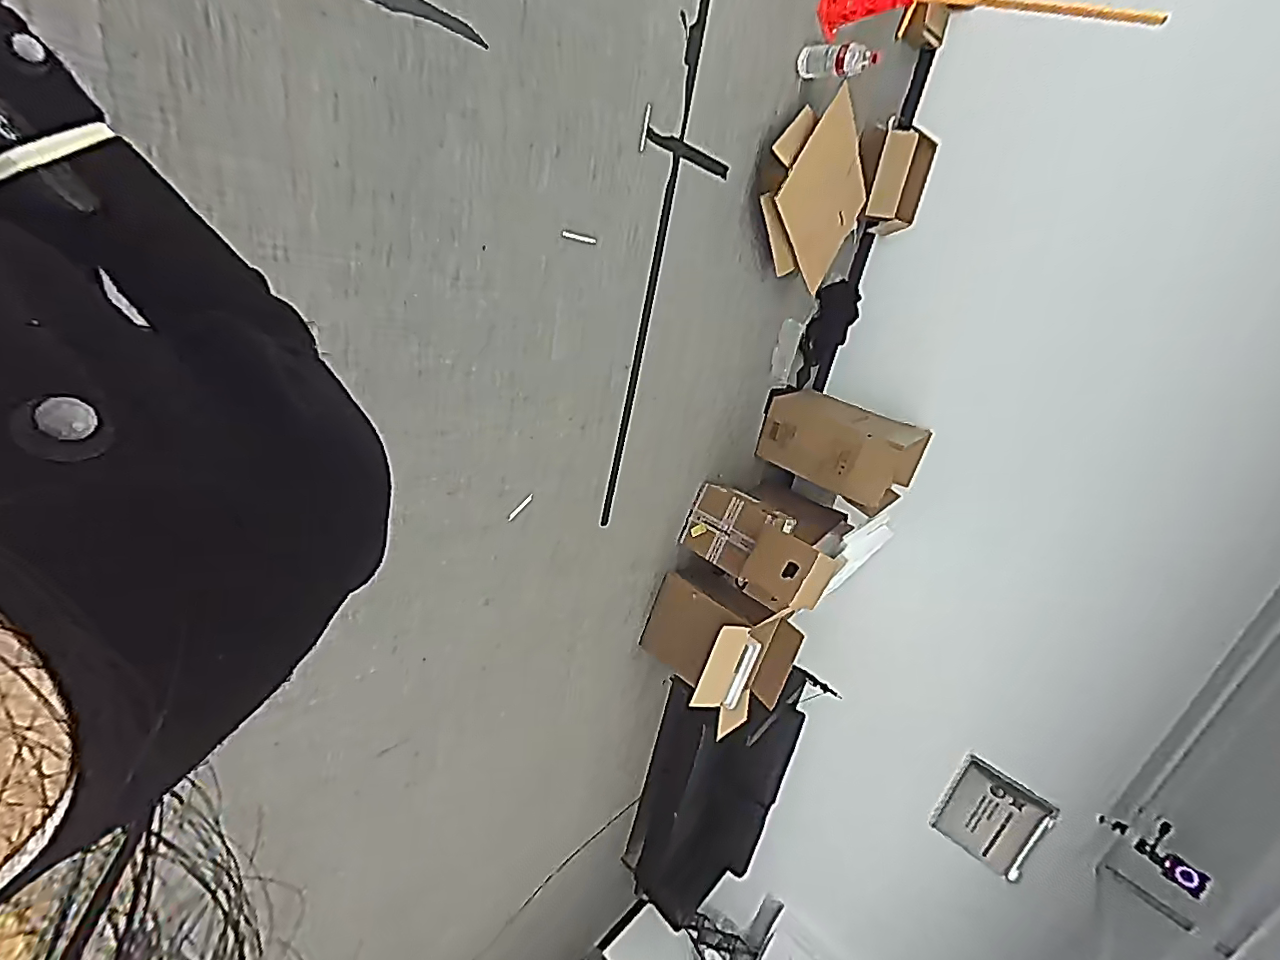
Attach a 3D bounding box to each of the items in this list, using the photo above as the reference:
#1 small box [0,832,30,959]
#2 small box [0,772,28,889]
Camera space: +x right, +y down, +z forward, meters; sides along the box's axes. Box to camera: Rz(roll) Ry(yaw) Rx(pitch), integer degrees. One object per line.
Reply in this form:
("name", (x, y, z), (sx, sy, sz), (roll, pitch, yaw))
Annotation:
("small box", (-1.044, 0.677, 0.802), (0.168, 0.176, 0.179), (-14, 121, -48))
("small box", (-1.167, 0.625, 0.894), (0.179, 0.176, 0.168), (-14, 122, -46))
